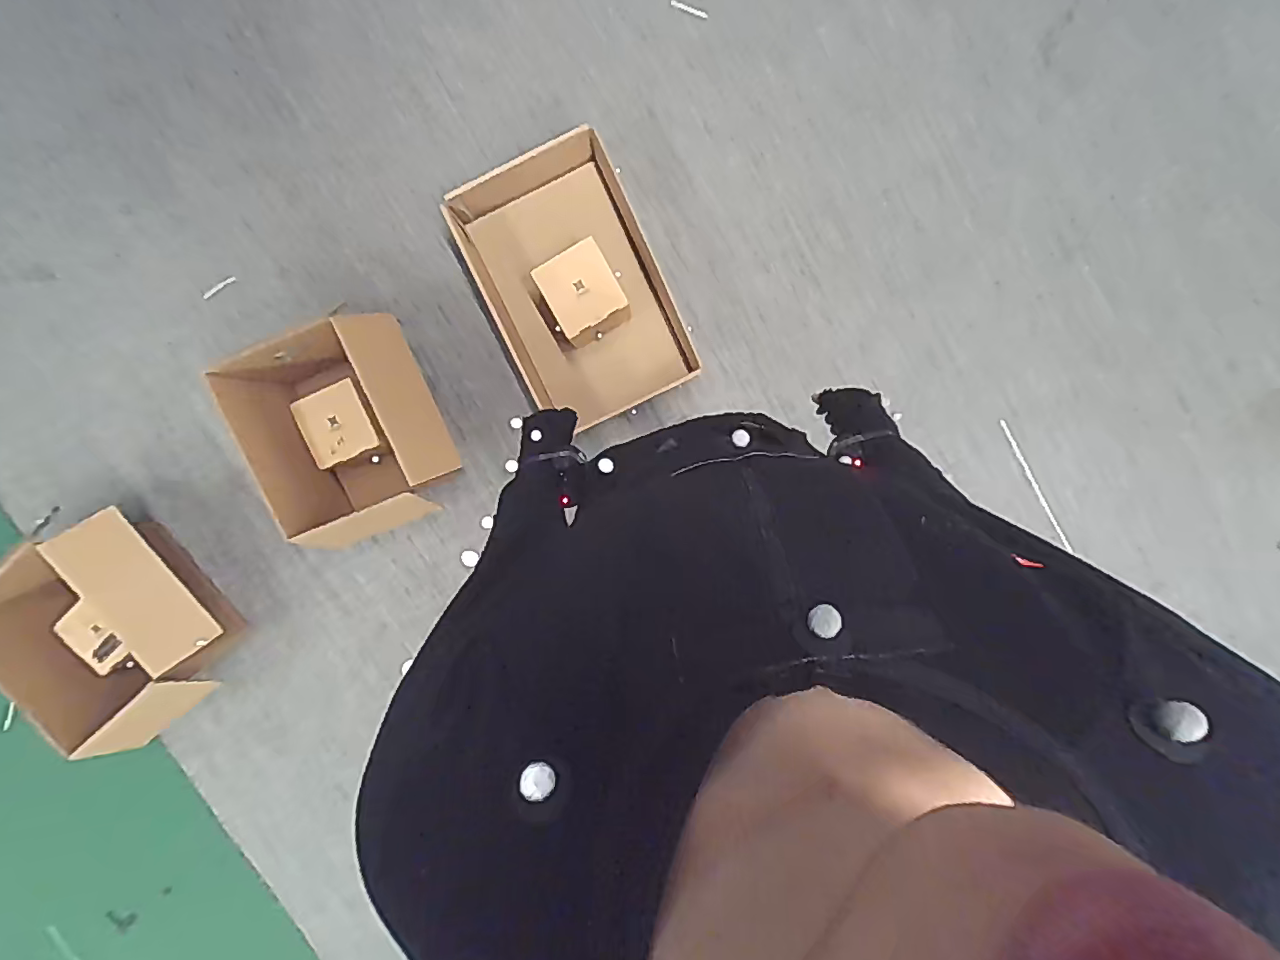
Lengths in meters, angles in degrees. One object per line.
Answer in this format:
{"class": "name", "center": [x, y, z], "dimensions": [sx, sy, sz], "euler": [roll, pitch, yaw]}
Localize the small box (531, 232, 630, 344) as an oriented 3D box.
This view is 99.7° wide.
{"class": "small box", "center": [-0.137, -0.451, 1.300], "dimensions": [0.168, 0.176, 0.179], "euler": [-30, 95, 3]}
